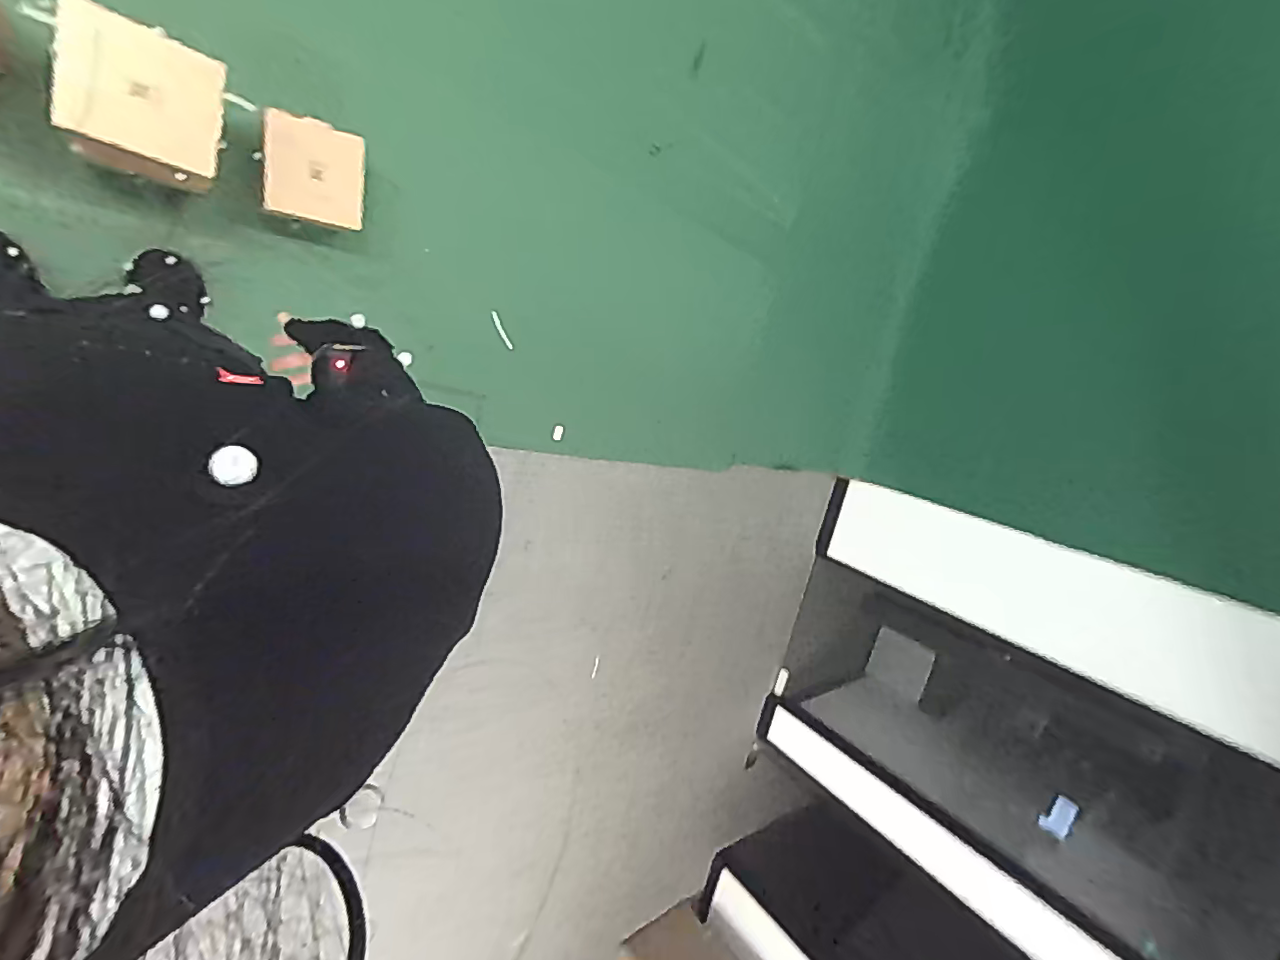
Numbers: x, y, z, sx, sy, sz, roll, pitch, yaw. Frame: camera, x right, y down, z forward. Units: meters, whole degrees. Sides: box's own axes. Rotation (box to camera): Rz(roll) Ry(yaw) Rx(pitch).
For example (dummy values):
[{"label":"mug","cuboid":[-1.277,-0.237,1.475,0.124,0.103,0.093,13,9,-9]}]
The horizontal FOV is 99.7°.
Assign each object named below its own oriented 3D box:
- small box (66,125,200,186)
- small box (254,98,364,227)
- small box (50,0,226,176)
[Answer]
[{"label":"small box","cuboid":[-0.860,-0.630,0.932,0.168,0.176,0.179,1,107,-42]},{"label":"small box","cuboid":[-0.675,-0.629,1.096,0.168,0.176,0.179,-2,110,-41]},{"label":"small box","cuboid":[-0.751,-0.583,0.820,0.179,0.176,0.168,5,105,-43]}]
